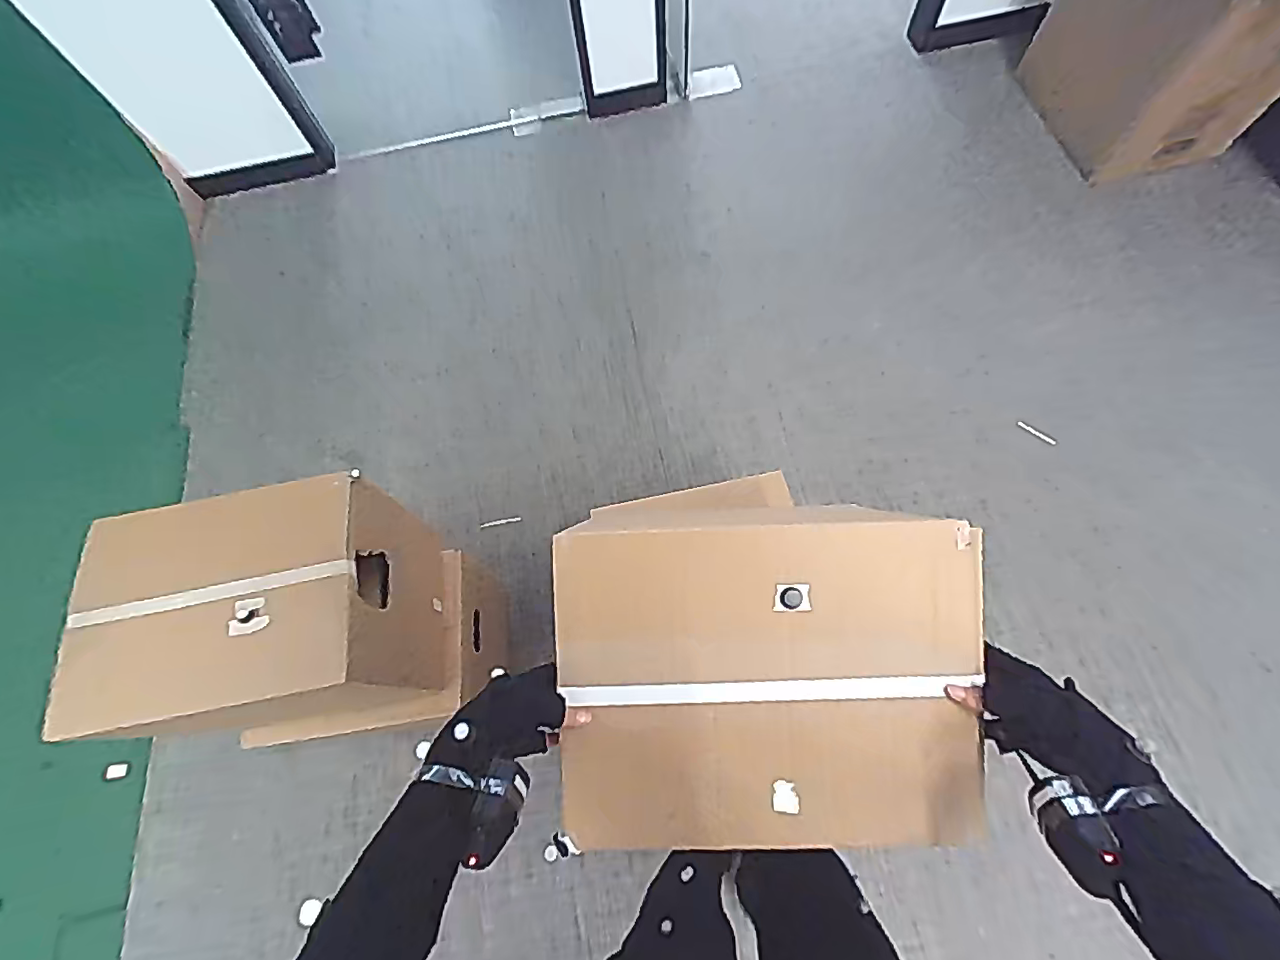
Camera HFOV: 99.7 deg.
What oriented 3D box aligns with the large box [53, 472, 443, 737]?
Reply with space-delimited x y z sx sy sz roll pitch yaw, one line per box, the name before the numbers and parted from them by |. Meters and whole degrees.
large box | -0.585 0.223 0.901 0.408 0.320 0.320 -10 66 -1
